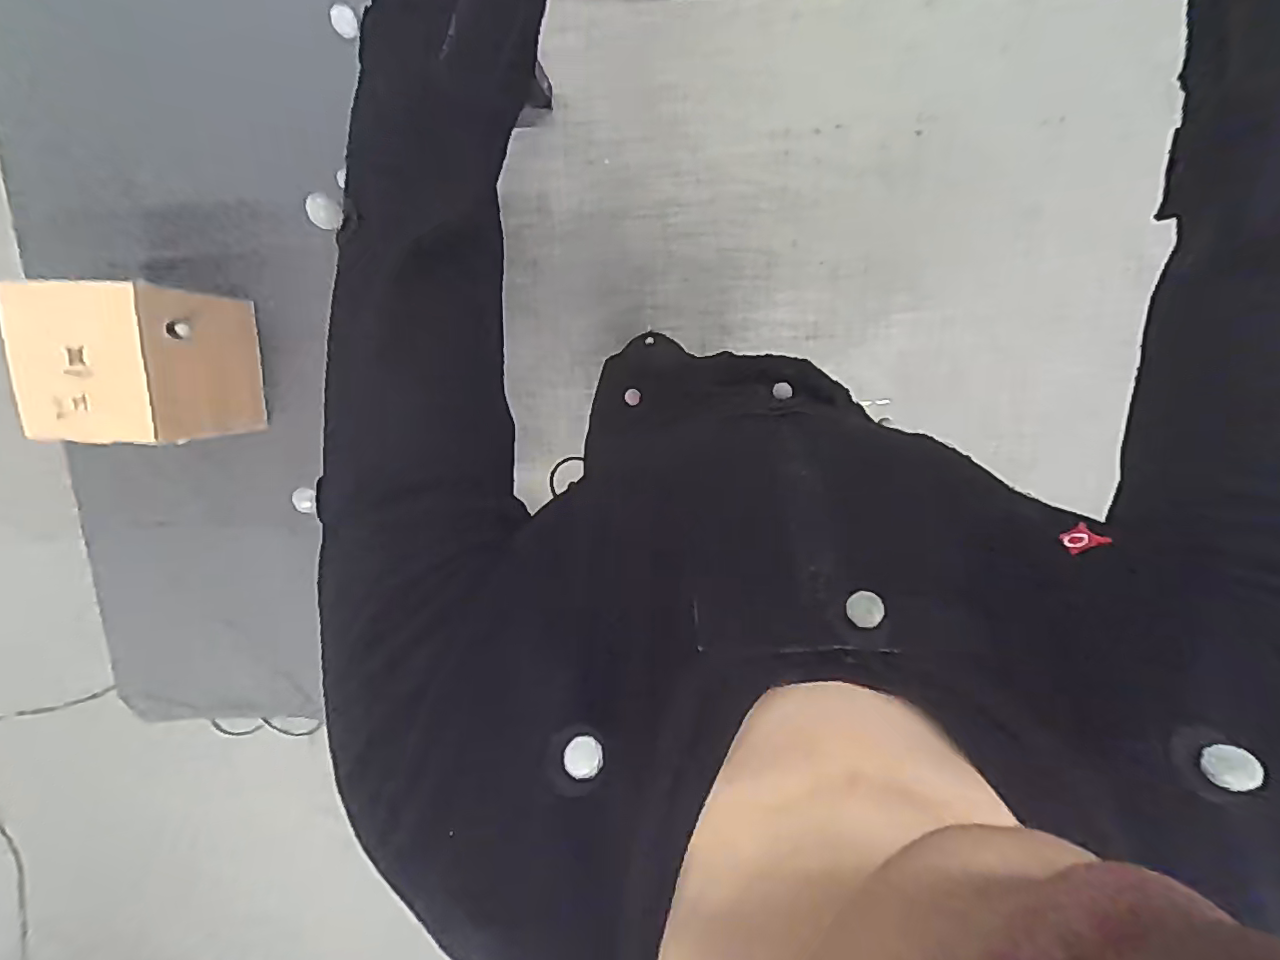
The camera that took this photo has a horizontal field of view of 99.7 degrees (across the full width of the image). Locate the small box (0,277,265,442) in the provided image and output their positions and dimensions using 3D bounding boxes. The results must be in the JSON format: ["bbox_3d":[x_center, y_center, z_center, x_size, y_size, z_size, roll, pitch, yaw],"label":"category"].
[{"bbox_3d":[-0.612,-0.147,0.676,0.168,0.176,0.179,3,102,5],"label":"small box"}]
